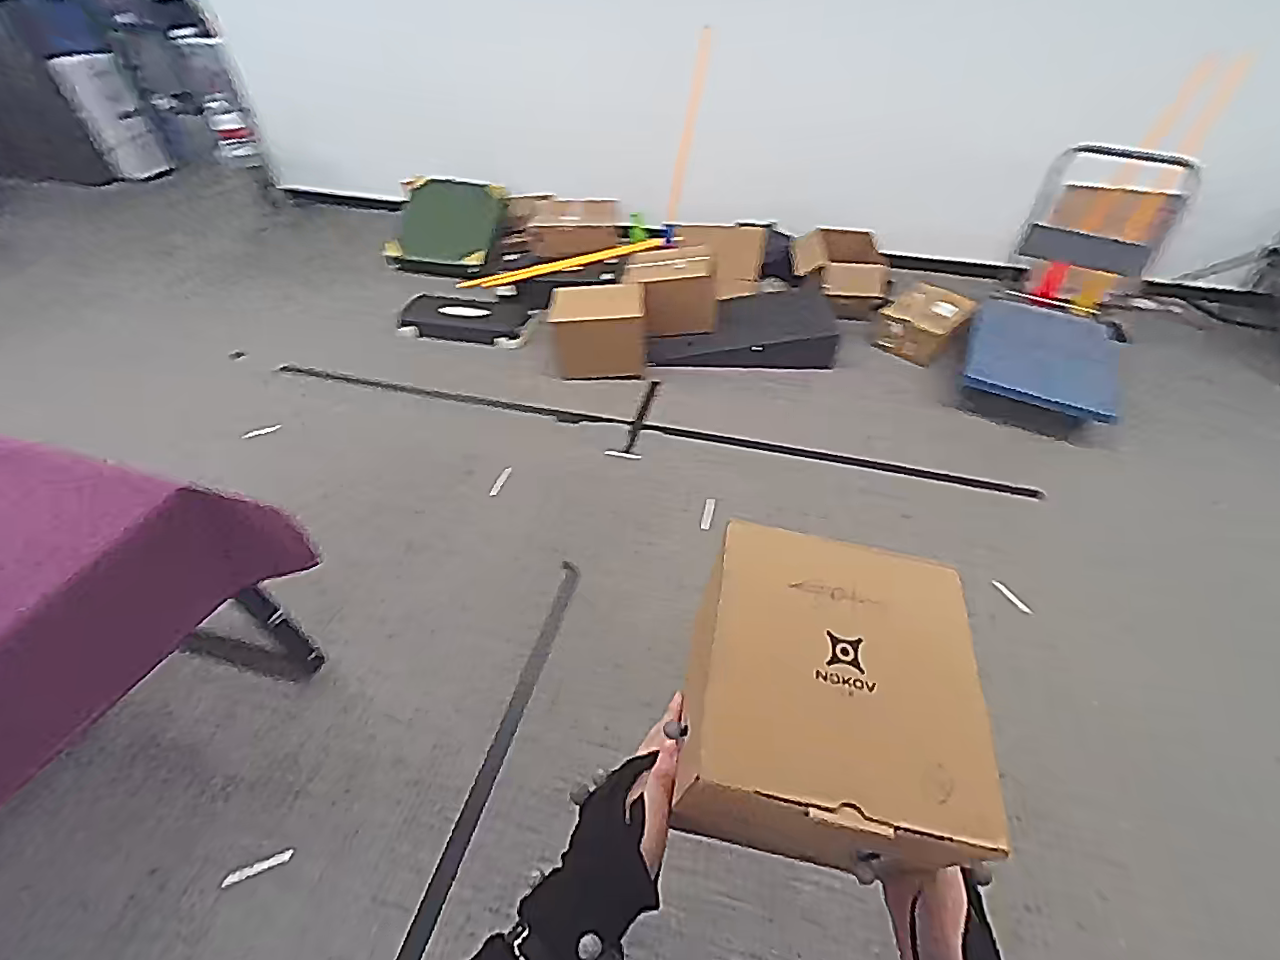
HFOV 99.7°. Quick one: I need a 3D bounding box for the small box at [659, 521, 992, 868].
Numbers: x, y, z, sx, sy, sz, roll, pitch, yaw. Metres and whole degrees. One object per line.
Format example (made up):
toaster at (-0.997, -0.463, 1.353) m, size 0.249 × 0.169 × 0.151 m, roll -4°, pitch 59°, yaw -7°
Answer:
small box at (0.111, 0.160, 0.394) m, size 0.168 × 0.176 × 0.179 m, roll 11°, pitch 51°, yaw 3°
